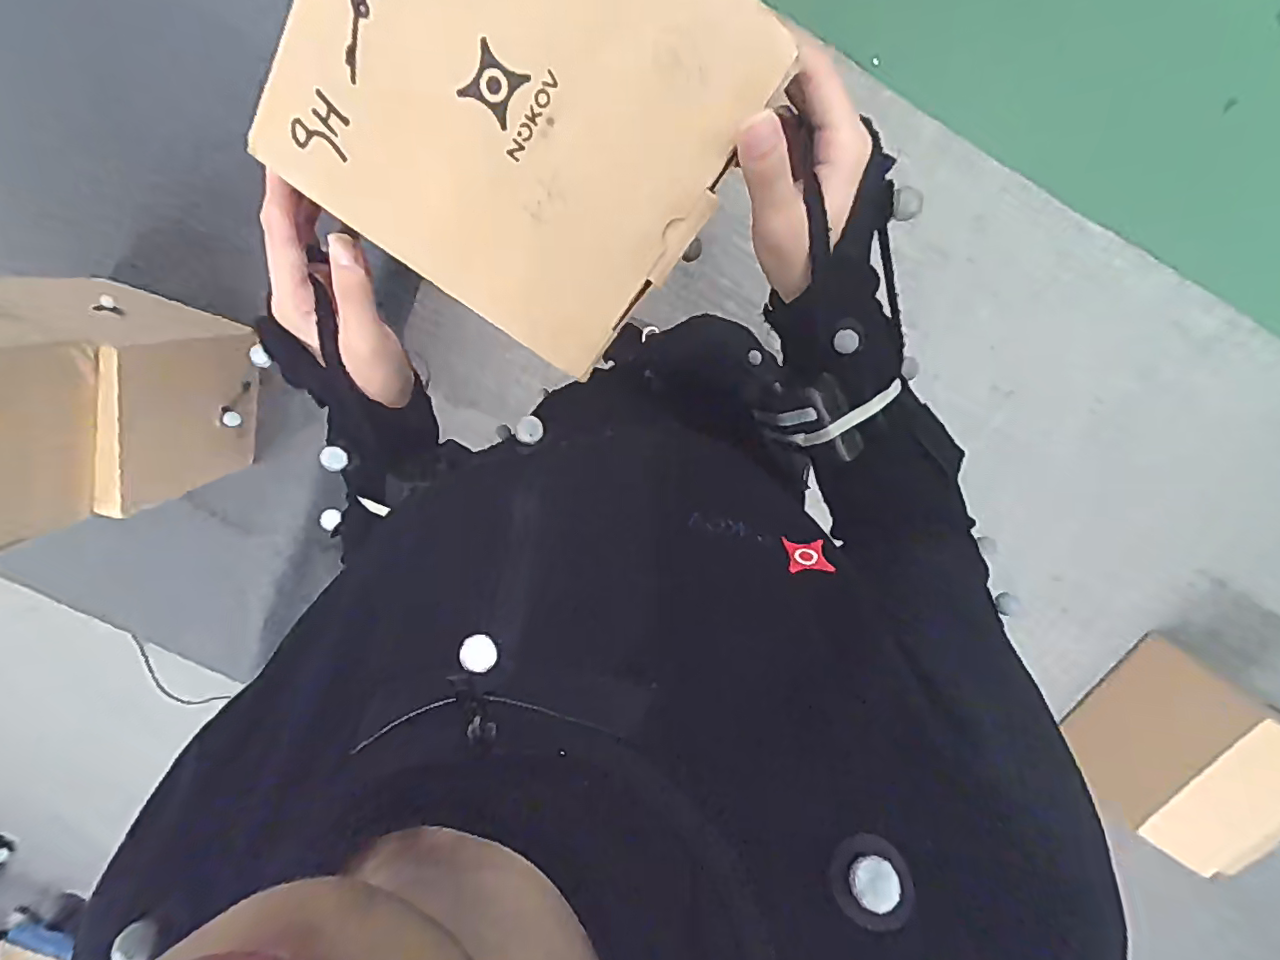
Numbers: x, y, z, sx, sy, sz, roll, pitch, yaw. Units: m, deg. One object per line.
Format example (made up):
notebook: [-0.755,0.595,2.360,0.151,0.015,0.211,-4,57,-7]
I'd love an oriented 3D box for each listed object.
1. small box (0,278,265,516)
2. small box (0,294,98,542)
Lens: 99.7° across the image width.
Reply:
small box: [-0.521,-0.091,0.535,0.179,0.176,0.168,18,111,-4]
small box: [-0.542,-0.045,0.380,0.168,0.176,0.179,21,109,-6]
